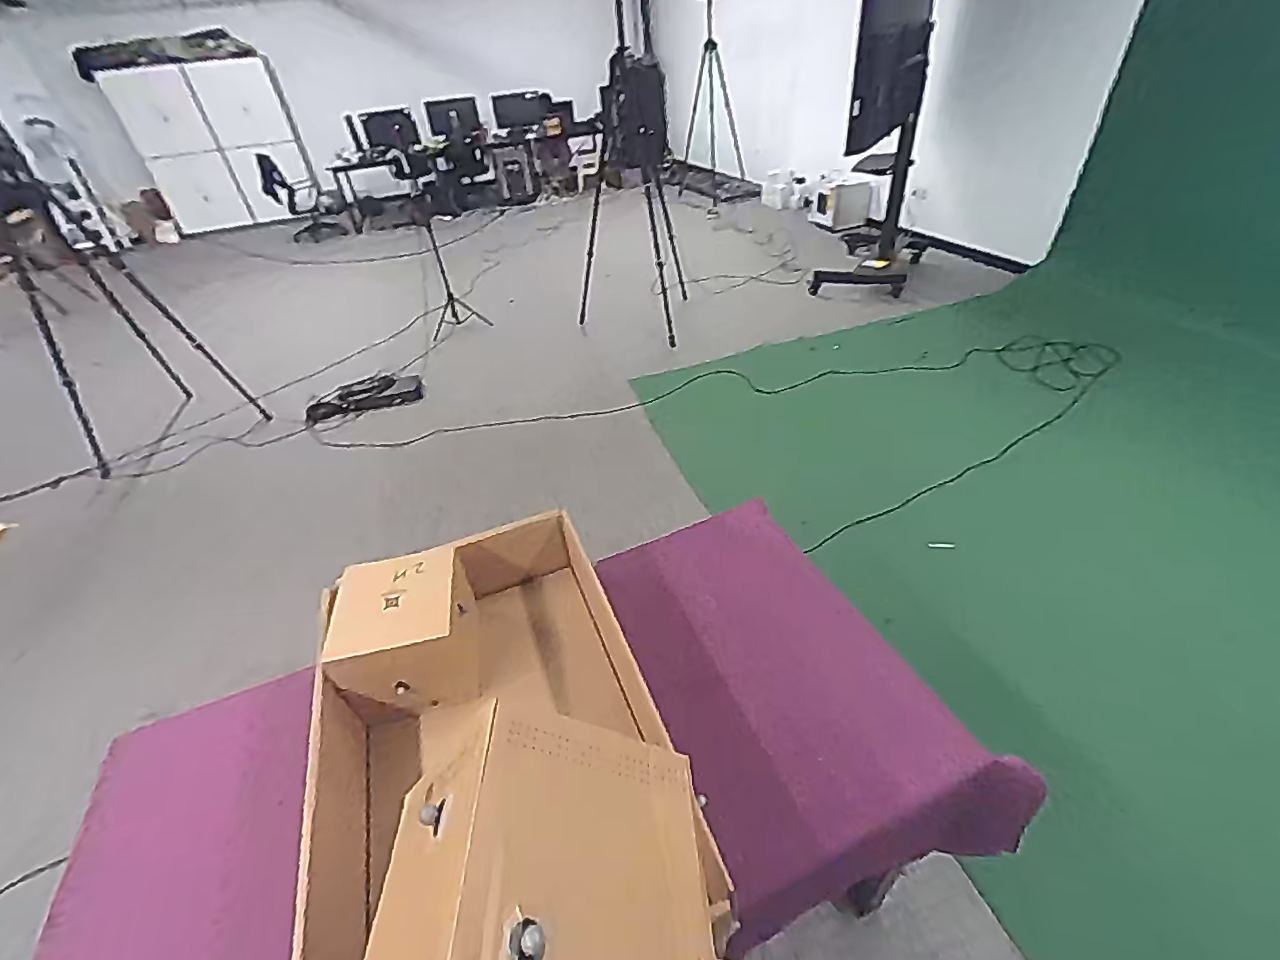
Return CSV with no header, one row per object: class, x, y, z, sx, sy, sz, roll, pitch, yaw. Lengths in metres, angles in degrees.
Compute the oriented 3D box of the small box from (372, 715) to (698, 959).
small box,-0.070,0.299,0.388,0.179,0.168,0.176,28,29,-19
